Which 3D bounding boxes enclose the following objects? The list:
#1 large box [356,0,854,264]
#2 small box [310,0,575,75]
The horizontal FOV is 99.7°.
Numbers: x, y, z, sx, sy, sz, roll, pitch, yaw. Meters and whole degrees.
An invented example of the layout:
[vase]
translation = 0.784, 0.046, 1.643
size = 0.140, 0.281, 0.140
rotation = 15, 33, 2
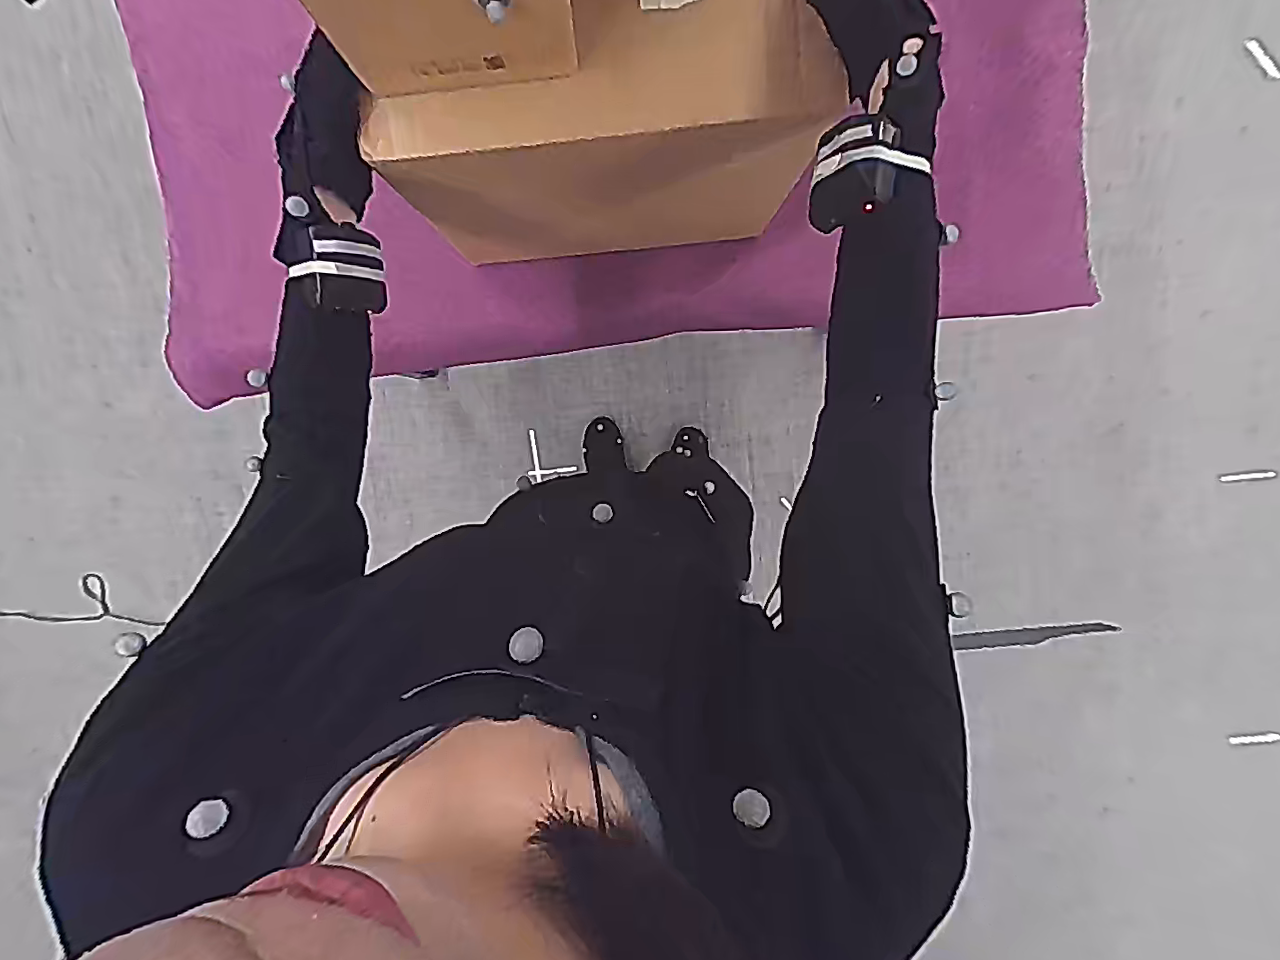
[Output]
[large box]
translation = -0.044, -0.449, 0.571
size = 0.408, 0.320, 0.320
rotation = -7, 98, -1
[small box]
translation = -0.136, -0.388, 0.333
size = 0.168, 0.176, 0.179
rotation = -7, 96, -2
